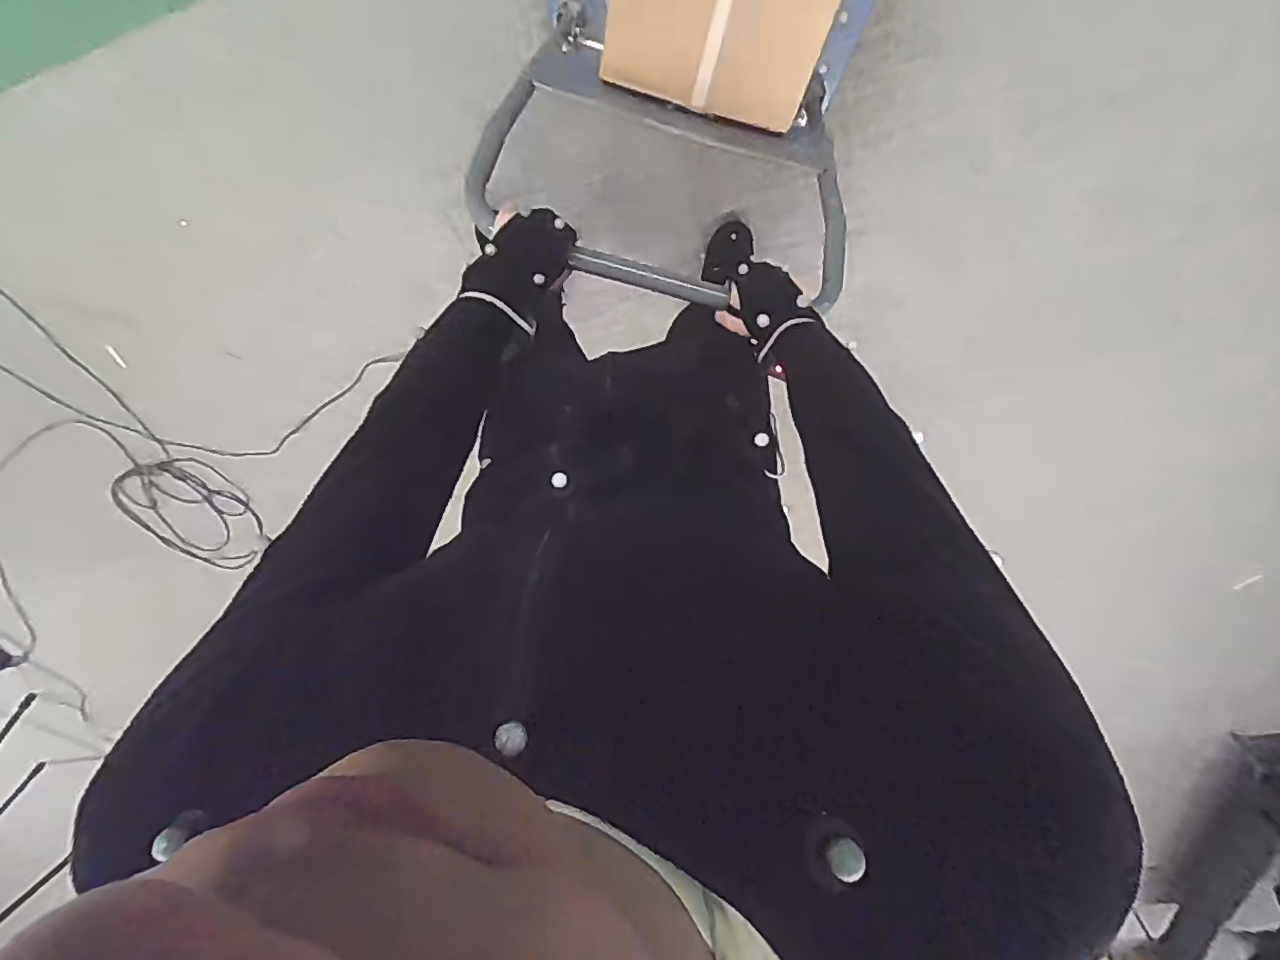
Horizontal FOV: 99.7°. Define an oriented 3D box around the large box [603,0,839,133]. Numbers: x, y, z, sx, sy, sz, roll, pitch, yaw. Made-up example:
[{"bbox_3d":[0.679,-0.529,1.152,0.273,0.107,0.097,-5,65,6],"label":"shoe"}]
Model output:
[{"bbox_3d":[0.149,-0.825,0.806,0.320,0.320,0.408,13,140,-6],"label":"large box"}]
